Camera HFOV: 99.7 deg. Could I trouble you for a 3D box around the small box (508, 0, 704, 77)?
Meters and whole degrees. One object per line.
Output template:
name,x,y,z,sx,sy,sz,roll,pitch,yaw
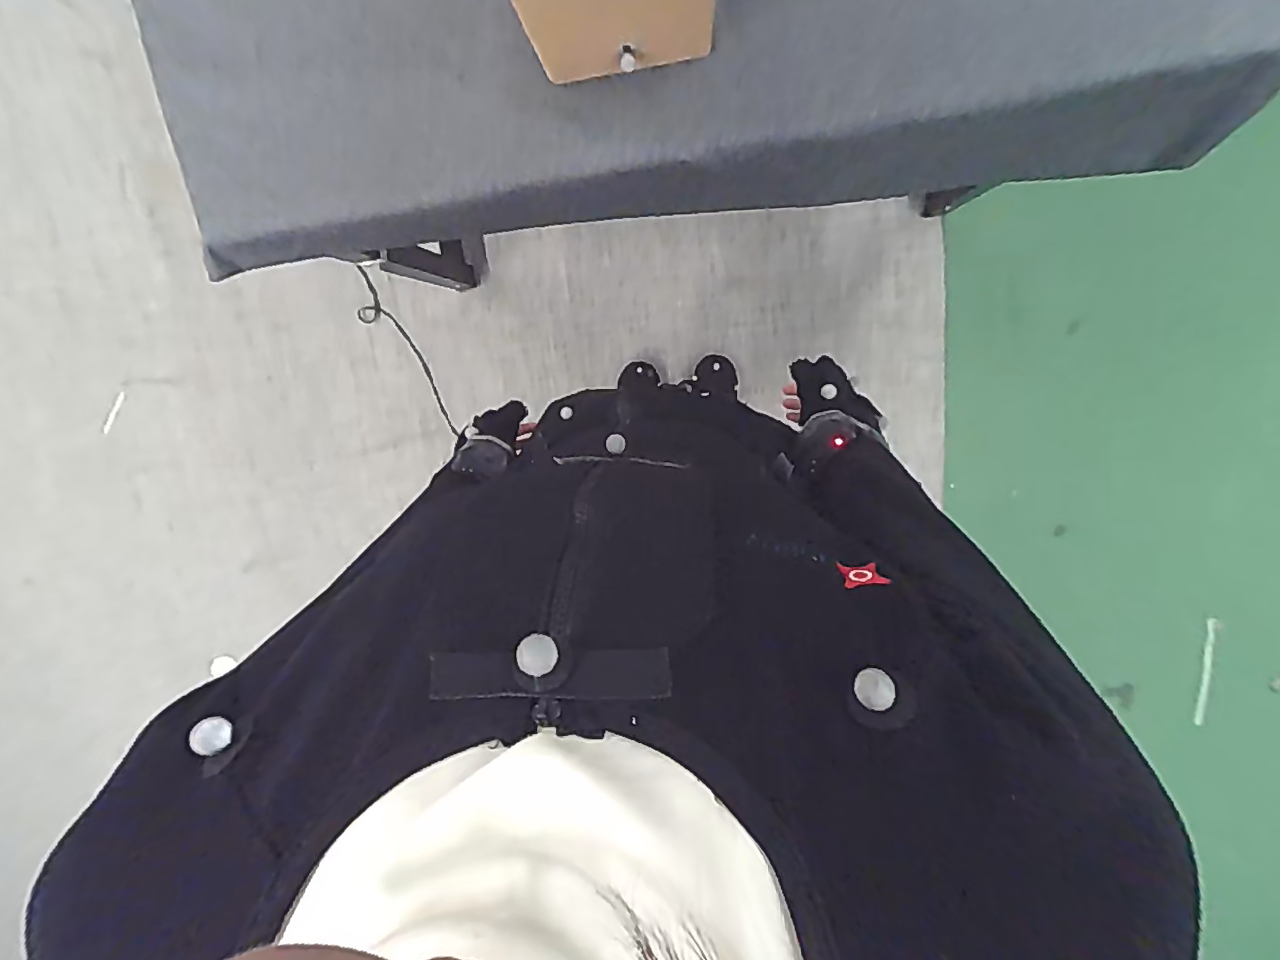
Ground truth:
small box,-0.032,-0.506,0.489,0.179,0.176,0.168,-6,102,6
